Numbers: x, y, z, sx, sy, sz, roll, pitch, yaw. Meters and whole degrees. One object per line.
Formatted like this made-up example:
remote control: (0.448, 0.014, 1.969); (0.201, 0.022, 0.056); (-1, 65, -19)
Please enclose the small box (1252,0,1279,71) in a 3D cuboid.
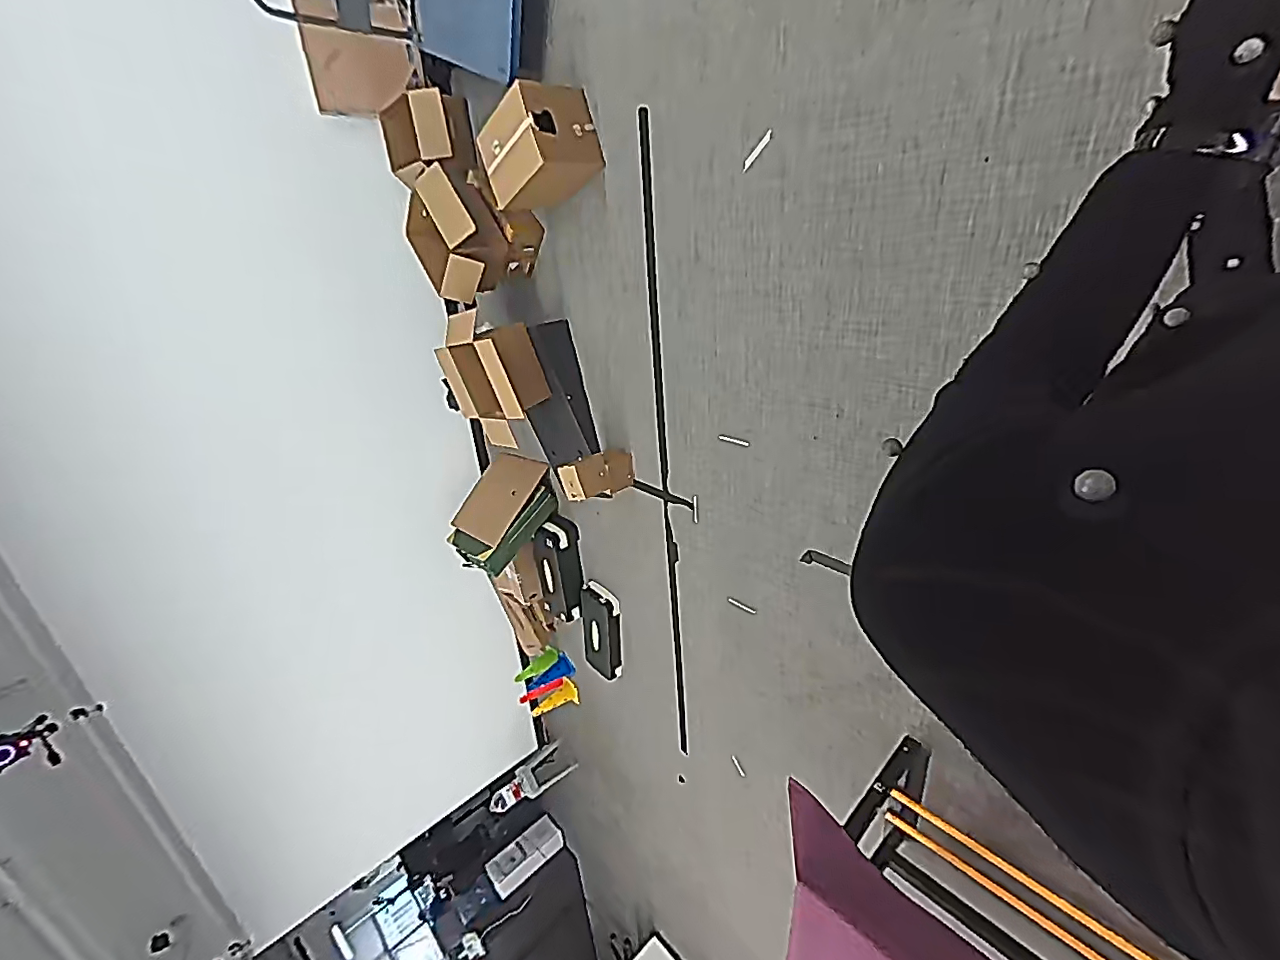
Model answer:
small box: (1.117, -0.766, 0.843); (0.179, 0.176, 0.168); (20, 124, 45)
